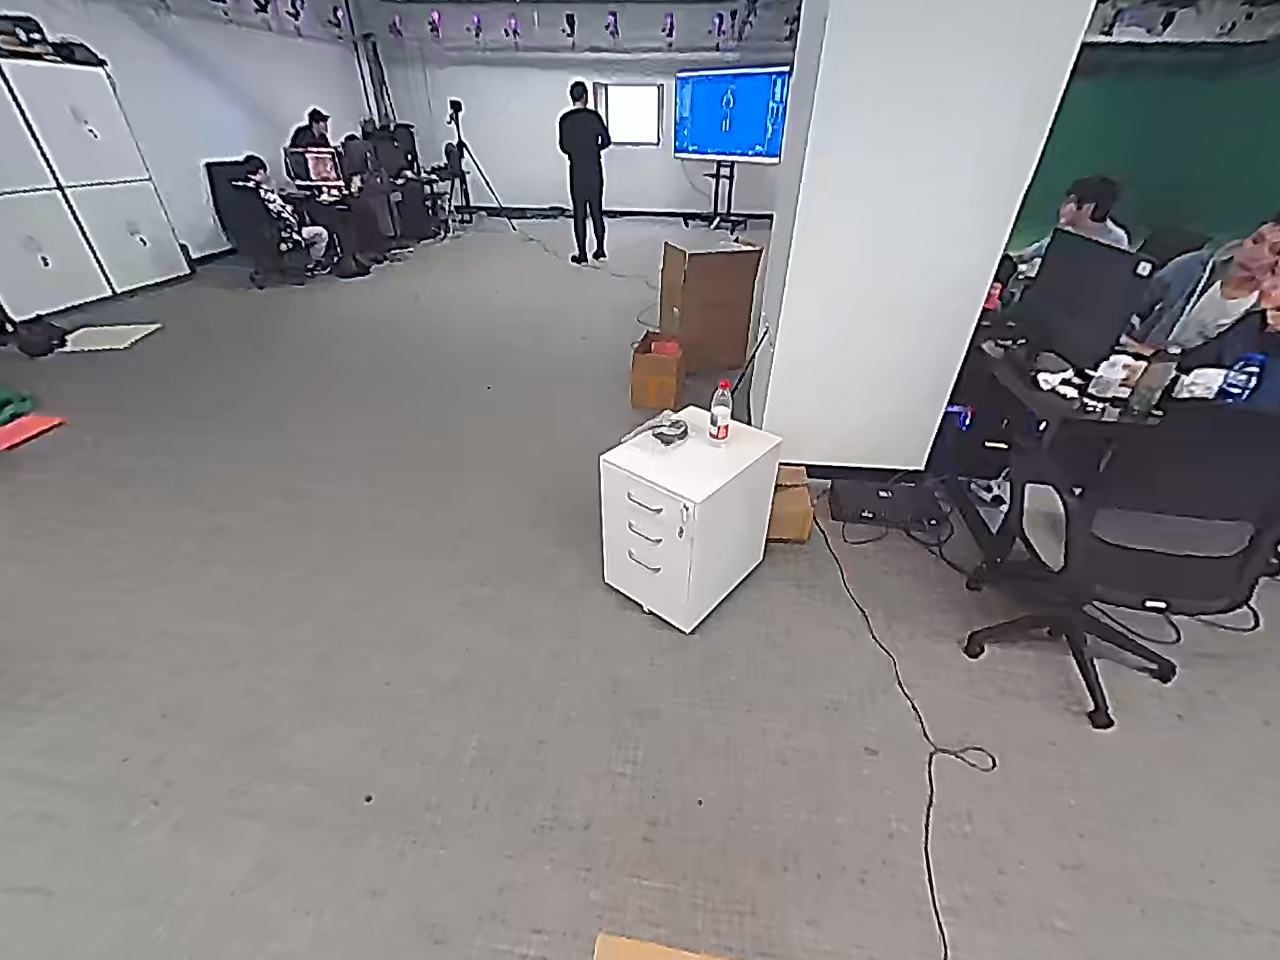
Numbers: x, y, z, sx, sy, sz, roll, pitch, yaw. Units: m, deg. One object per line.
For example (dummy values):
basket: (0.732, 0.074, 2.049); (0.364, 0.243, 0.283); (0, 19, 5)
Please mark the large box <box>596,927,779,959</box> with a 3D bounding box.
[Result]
large box: (0.100, 1.038, 0.920); (0.408, 0.320, 0.320); (6, 35, 7)
